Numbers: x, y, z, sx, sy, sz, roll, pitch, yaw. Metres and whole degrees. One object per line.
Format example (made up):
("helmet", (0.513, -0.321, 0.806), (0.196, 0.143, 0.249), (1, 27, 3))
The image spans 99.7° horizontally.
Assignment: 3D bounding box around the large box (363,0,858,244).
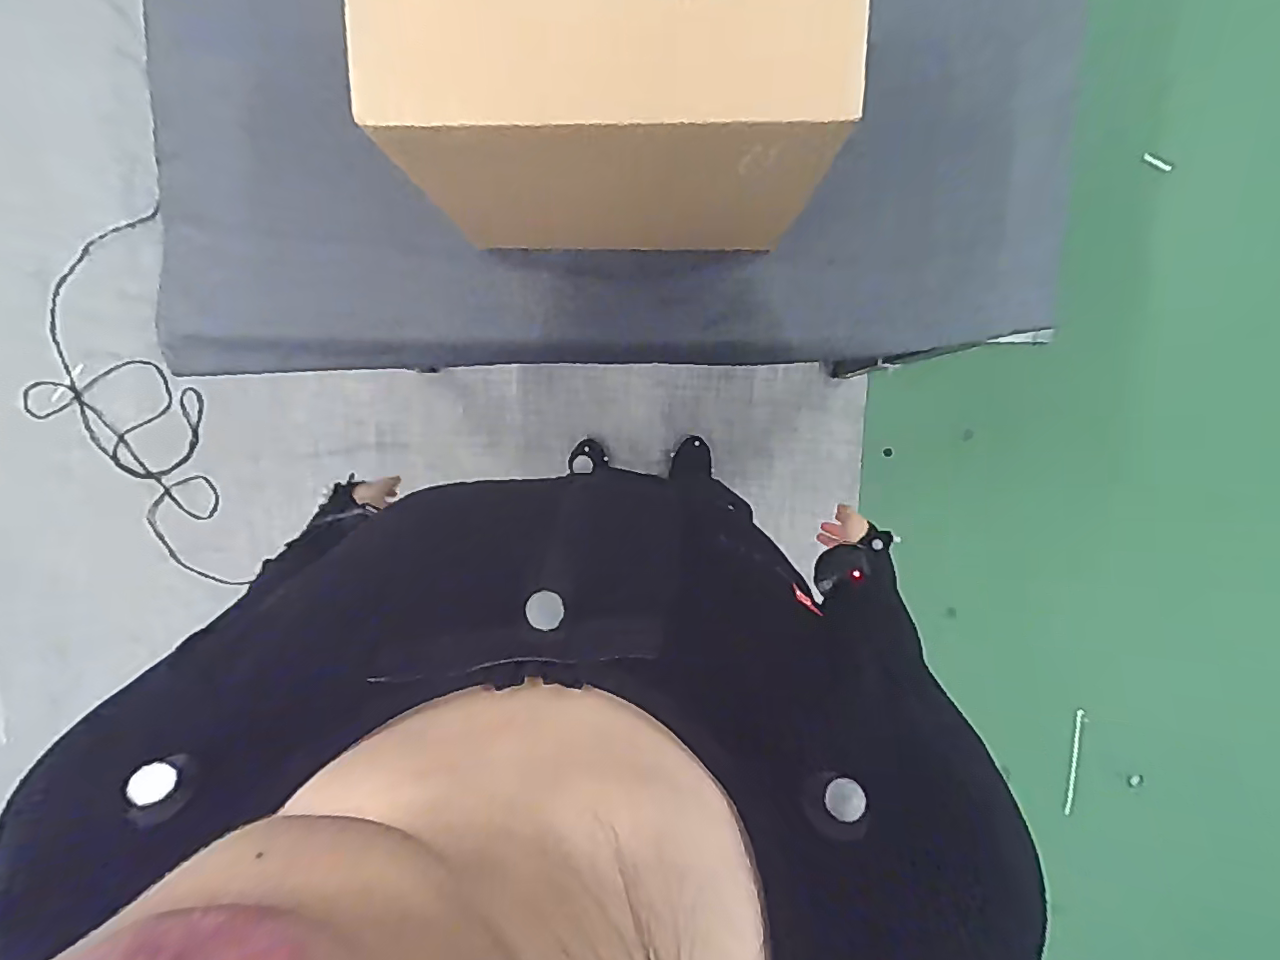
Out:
("large box", (-0.023, -0.460, 0.573), (0.408, 0.320, 0.320), (0, 97, 1))
